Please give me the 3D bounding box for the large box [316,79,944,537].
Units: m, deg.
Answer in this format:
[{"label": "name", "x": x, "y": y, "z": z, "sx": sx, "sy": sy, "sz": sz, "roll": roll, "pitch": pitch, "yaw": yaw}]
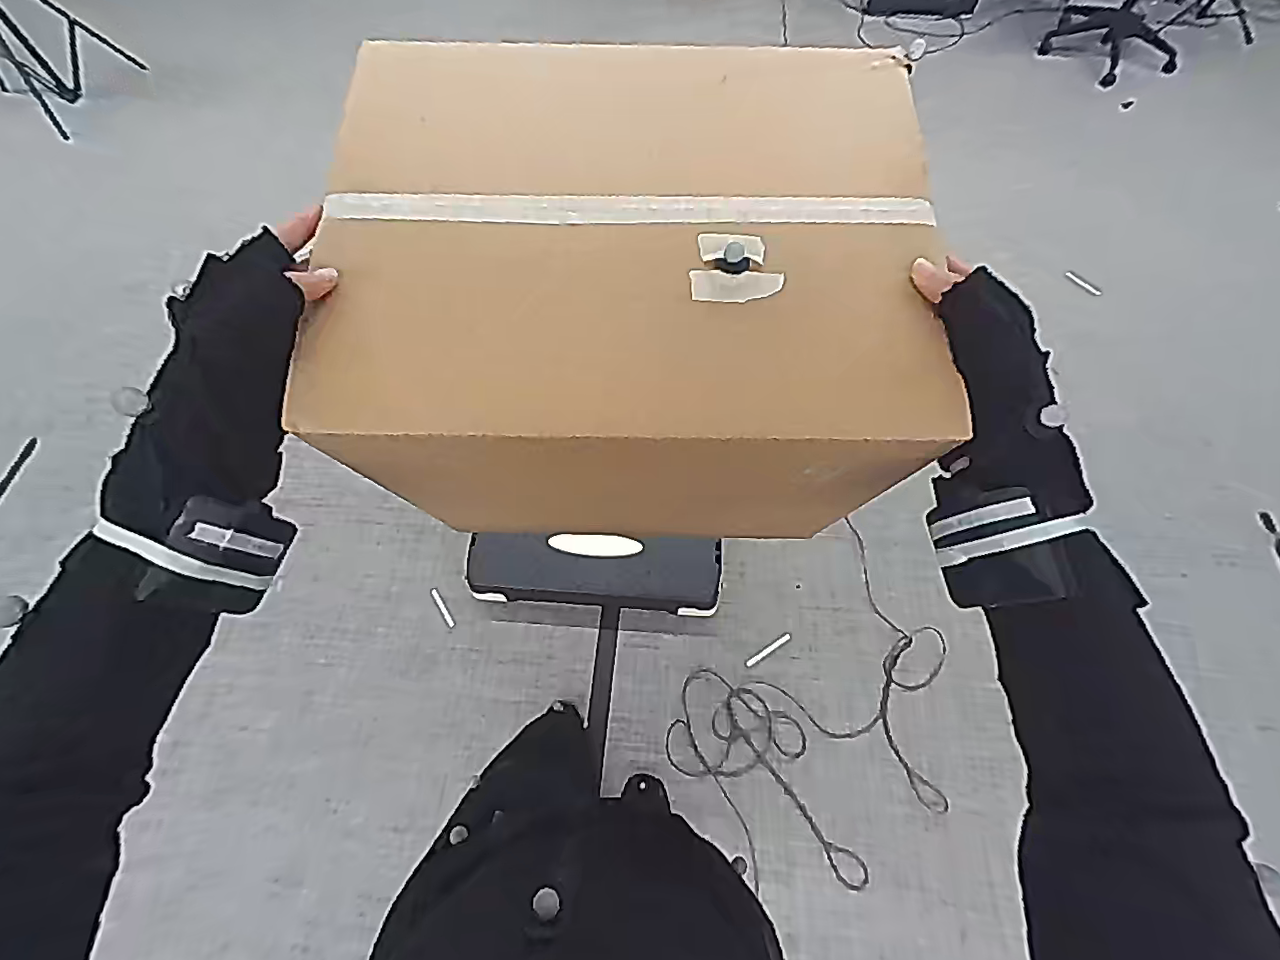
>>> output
[{"label": "large box", "x": -0.008, "y": -0.127, "z": 0.524, "sx": 0.408, "sy": 0.320, "sz": 0.320, "roll": 1, "pitch": 73, "yaw": 0}]
